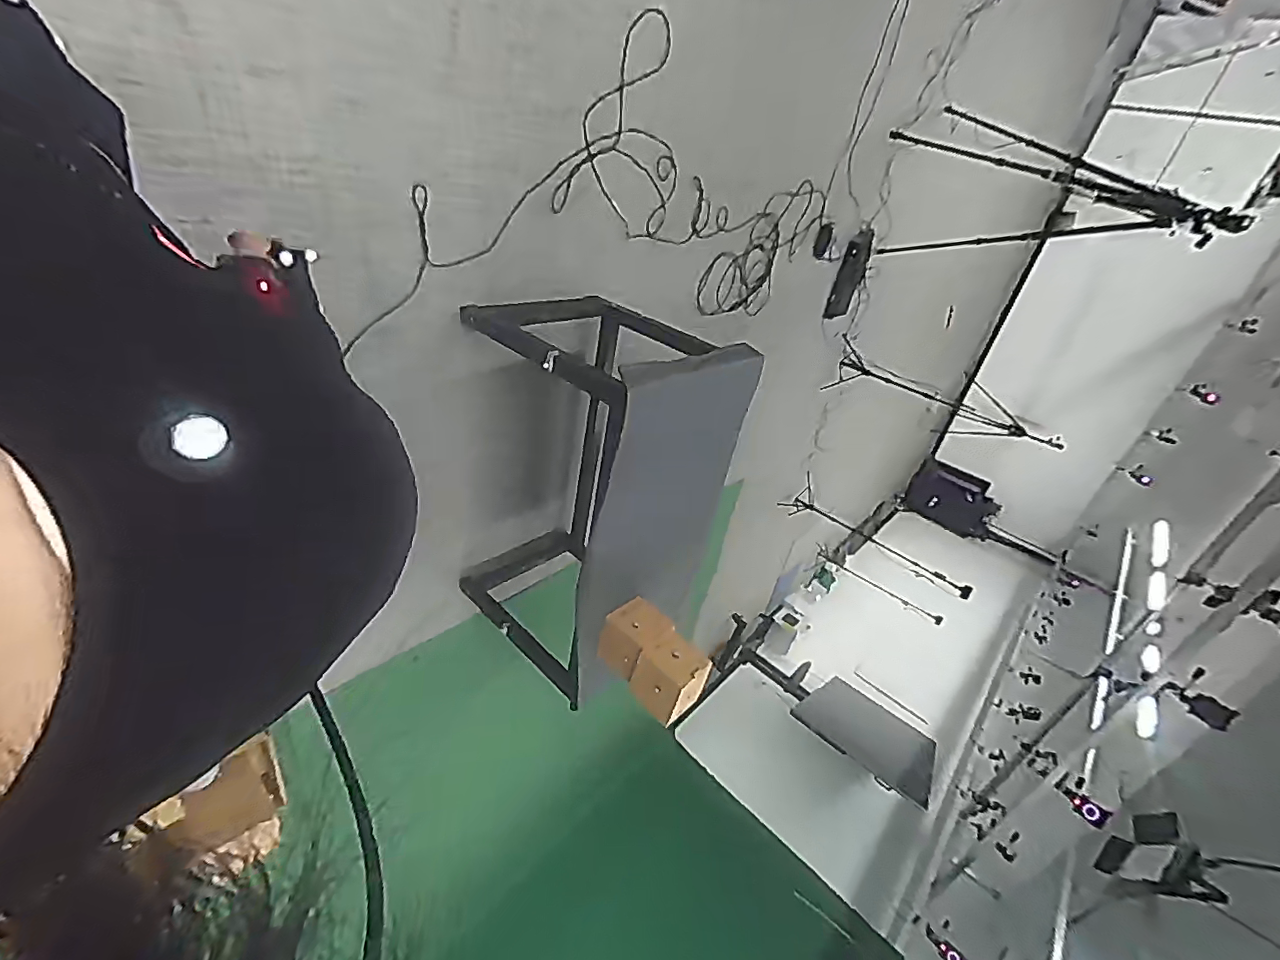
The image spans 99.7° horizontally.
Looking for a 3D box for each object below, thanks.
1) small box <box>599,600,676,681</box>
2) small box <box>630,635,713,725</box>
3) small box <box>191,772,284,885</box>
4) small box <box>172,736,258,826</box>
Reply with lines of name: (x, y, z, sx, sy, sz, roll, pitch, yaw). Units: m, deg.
small box: (-0.014, 0.513, 1.757, 0.168, 0.176, 0.179, -20, 134, -46)
small box: (0.092, 0.604, 1.667, 0.168, 0.176, 0.179, -17, 130, -48)
small box: (-1.169, 1.002, 1.568, 0.179, 0.176, 0.168, -21, 133, -45)
small box: (-1.288, 0.930, 1.655, 0.179, 0.176, 0.168, -21, 132, -43)
